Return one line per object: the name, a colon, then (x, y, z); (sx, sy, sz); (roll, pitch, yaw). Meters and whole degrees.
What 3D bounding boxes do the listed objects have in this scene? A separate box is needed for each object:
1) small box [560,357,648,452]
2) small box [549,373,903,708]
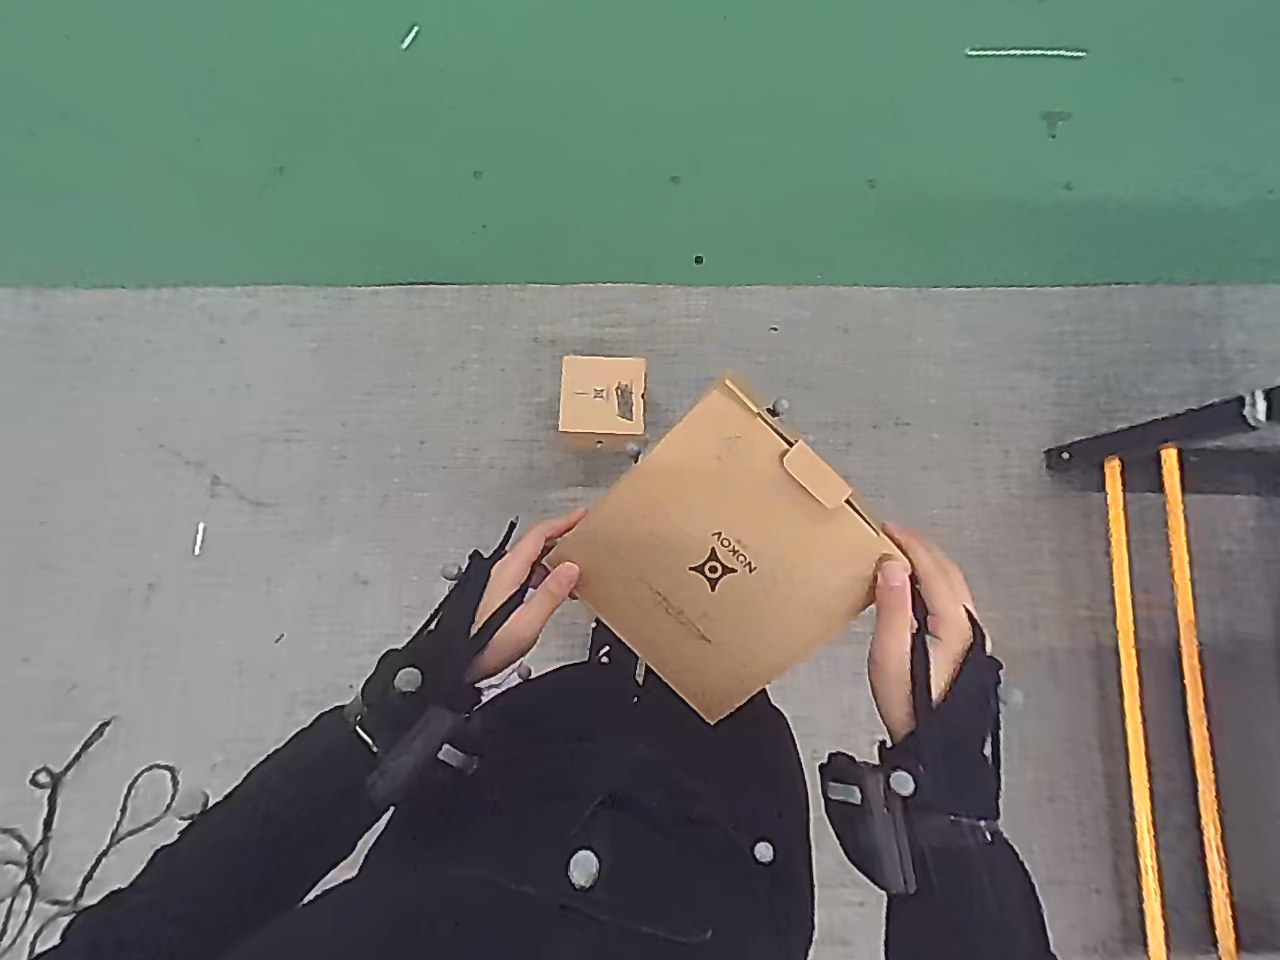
small box: (-0.074, -0.159, 1.192); (0.179, 0.176, 0.168); (3, 81, 1)
small box: (0.063, 0.030, 0.431); (0.168, 0.176, 0.179); (44, 107, -1)
